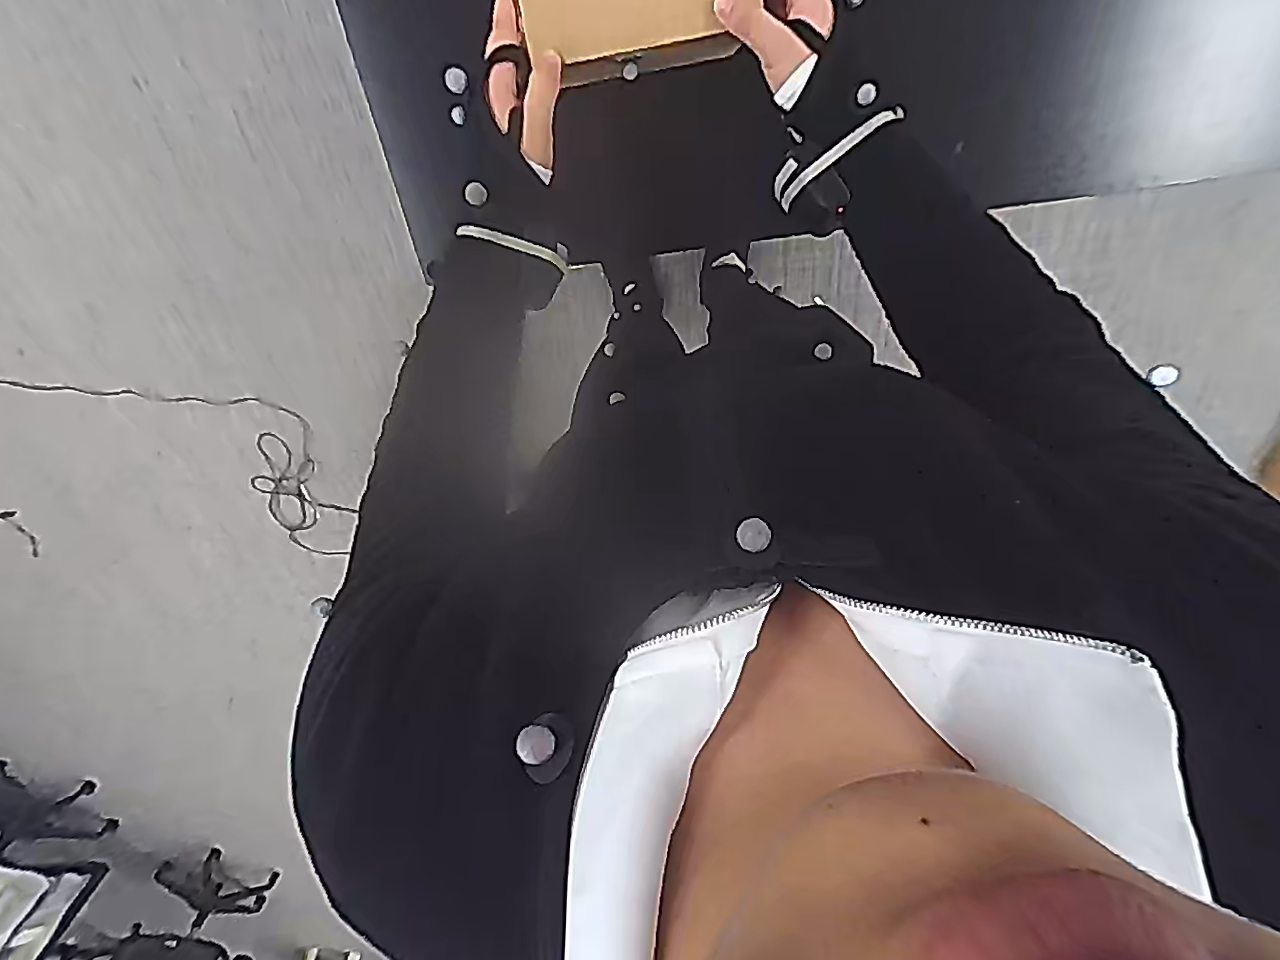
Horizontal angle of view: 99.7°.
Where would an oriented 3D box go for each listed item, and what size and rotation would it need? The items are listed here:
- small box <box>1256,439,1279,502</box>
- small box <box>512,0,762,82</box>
[{"bbox_3d":[1.911,-0.016,1.513,0.168,0.176,0.179,-7,122,5],"label":"small box"},{"bbox_3d":[-0.010,-0.424,0.414,0.179,0.176,0.168,-7,122,4],"label":"small box"}]
